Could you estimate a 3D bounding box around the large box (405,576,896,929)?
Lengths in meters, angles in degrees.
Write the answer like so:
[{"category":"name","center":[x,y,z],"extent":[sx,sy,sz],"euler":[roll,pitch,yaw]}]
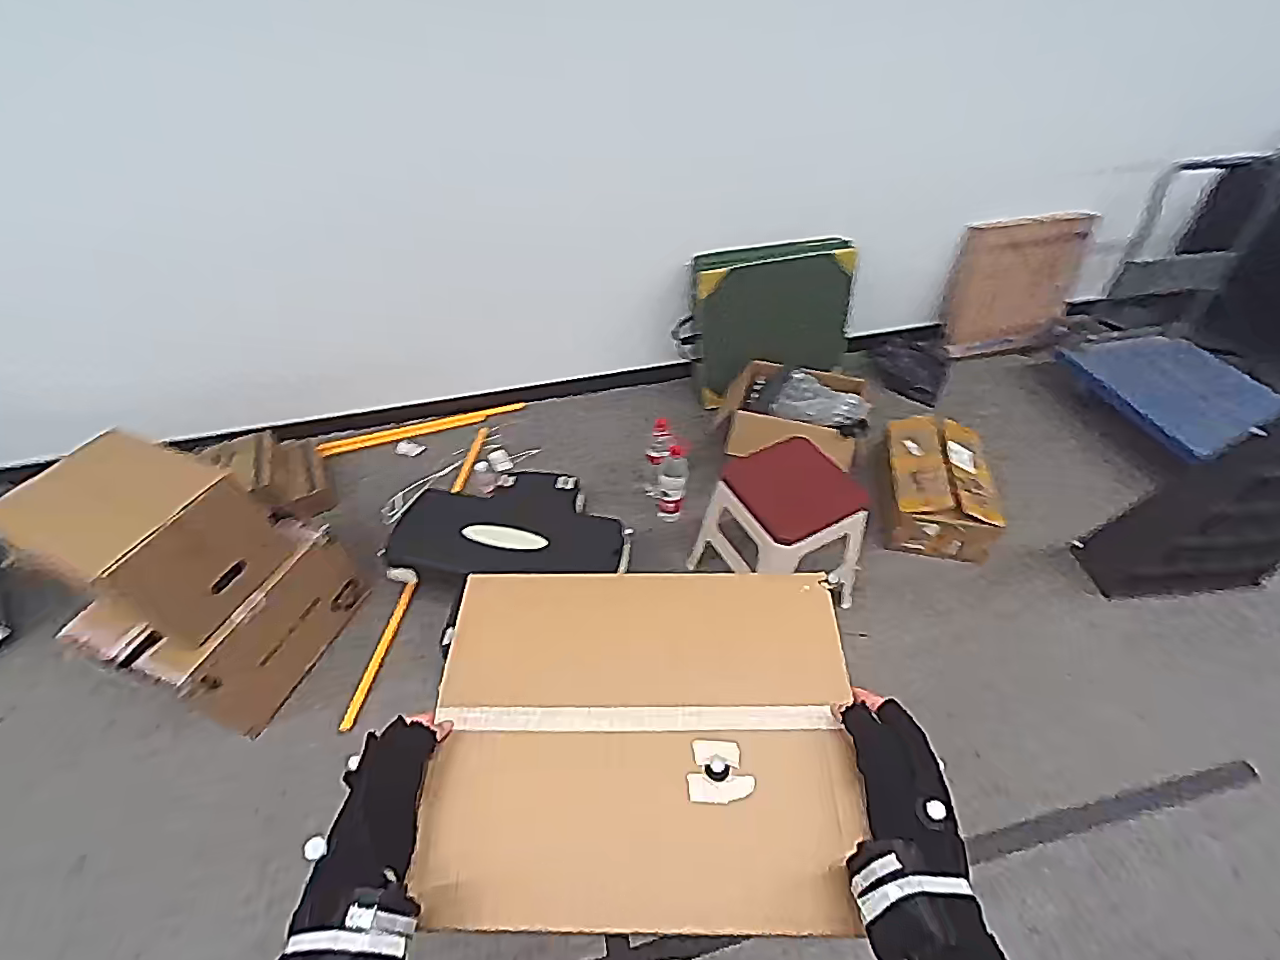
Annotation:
[{"category":"large box","center":[0.011,0.324,0.638],"extent":[0.408,0.320,0.320],"euler":[1,51,2]}]
